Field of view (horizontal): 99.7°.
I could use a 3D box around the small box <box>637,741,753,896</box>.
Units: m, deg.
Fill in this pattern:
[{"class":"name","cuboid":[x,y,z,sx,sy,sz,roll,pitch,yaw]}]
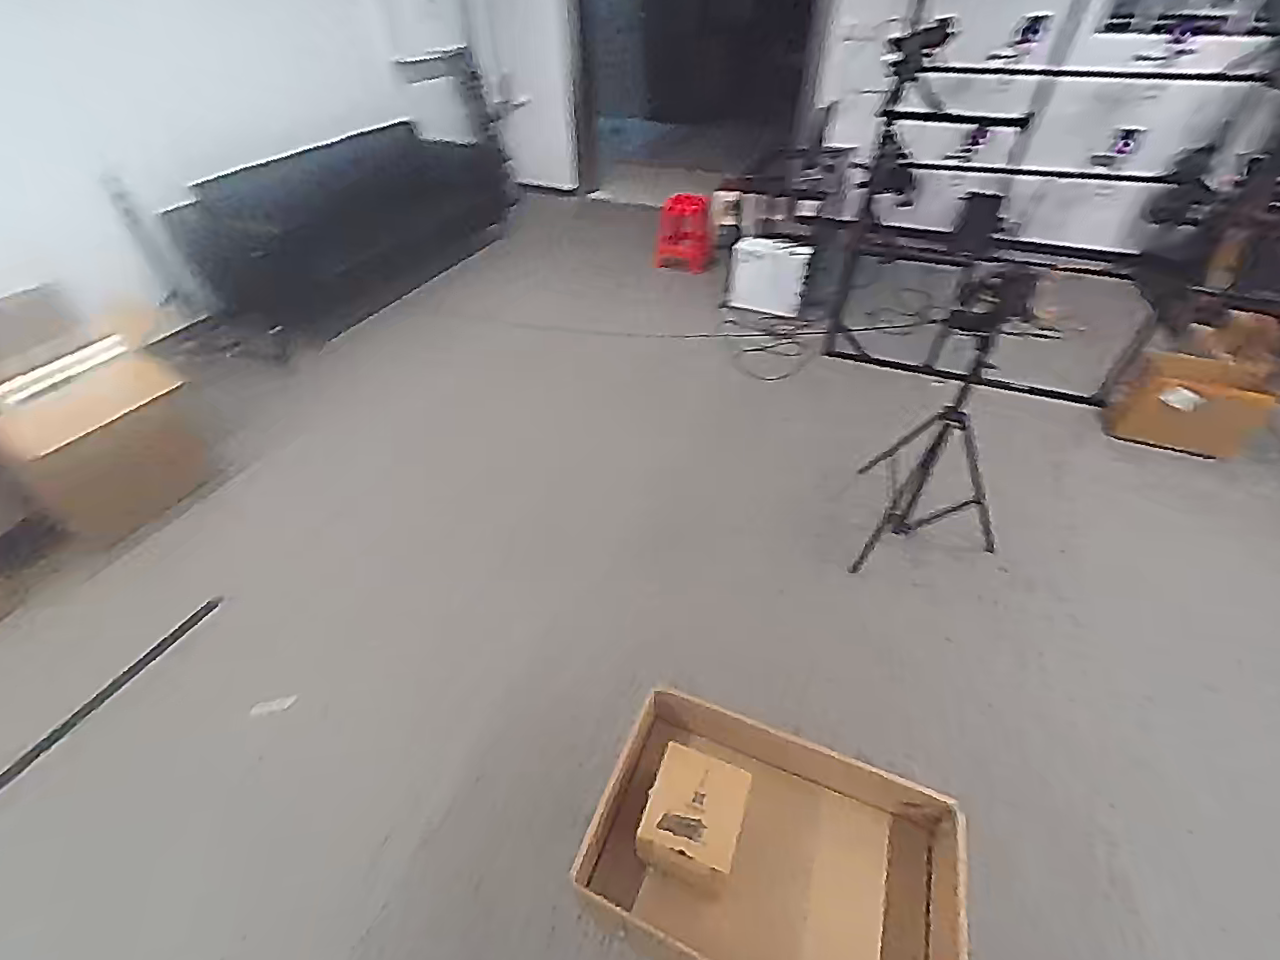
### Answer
[{"class":"small box","cuboid":[0.105,0.637,1.017,0.168,0.176,0.179,15,43,17]}]
